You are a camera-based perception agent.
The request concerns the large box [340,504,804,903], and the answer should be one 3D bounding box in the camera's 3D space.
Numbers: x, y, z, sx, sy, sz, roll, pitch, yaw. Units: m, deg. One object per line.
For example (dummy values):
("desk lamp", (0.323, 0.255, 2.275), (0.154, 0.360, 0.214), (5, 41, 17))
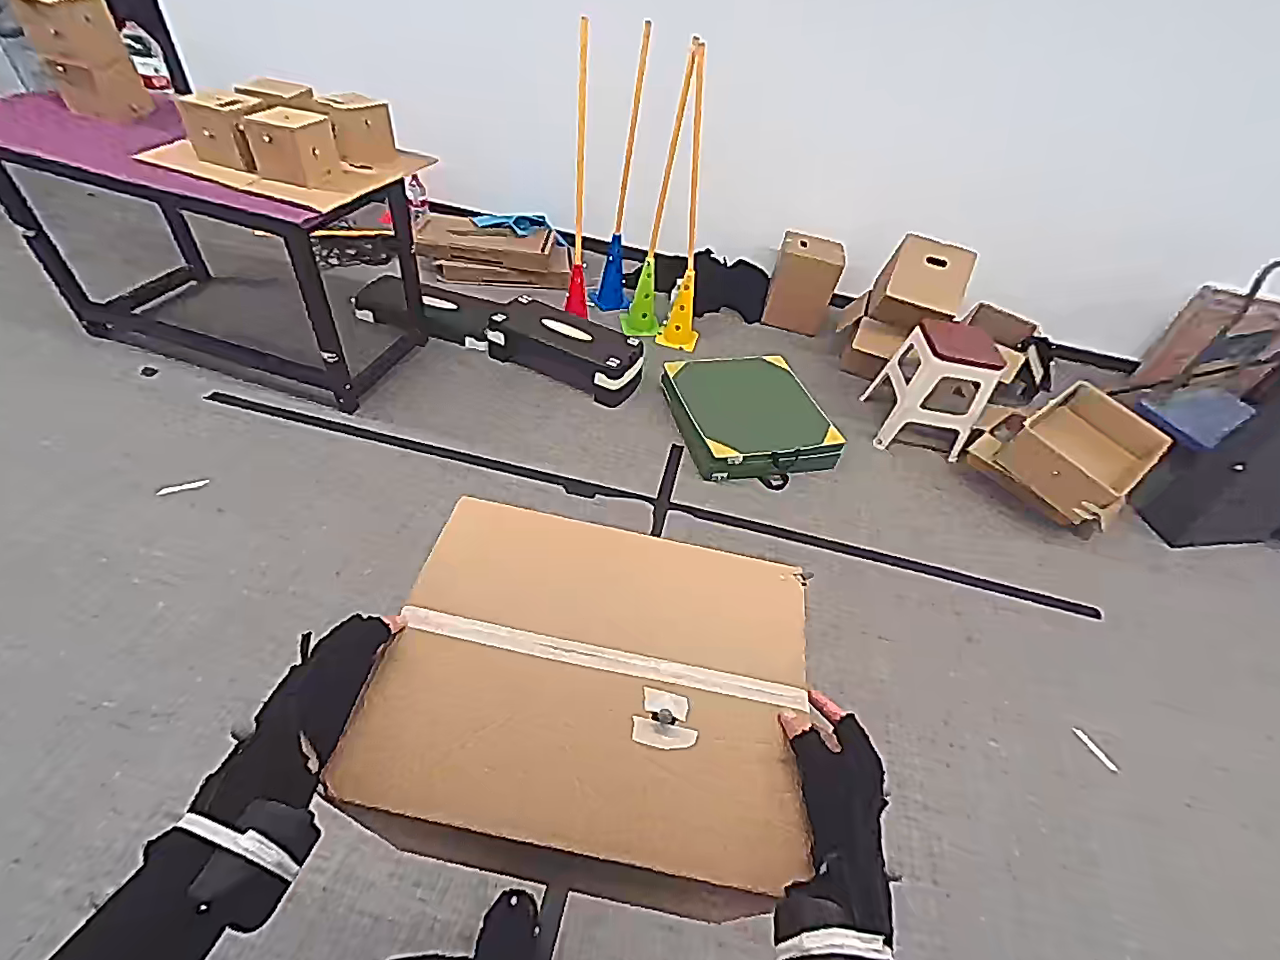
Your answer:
("large box", (-0.056, 0.274, 0.655), (0.408, 0.320, 0.320), (12, 49, 1))
